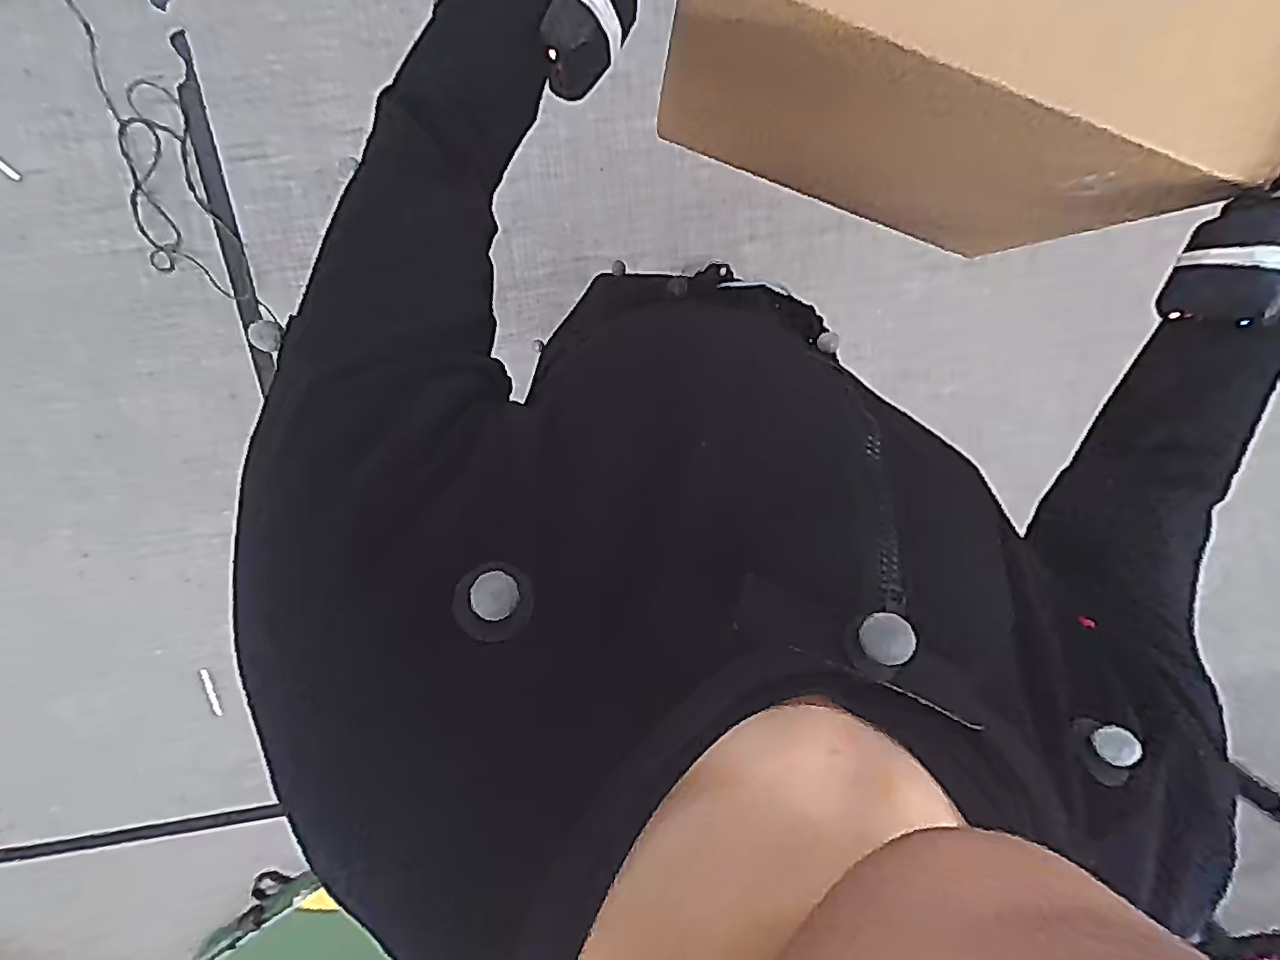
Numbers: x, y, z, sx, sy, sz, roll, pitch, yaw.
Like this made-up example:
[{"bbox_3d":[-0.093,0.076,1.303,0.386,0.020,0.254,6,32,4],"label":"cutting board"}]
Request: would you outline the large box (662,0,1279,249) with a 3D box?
[{"bbox_3d":[0.262,-0.434,0.457,0.408,0.320,0.320,17,105,-7],"label":"large box"}]
